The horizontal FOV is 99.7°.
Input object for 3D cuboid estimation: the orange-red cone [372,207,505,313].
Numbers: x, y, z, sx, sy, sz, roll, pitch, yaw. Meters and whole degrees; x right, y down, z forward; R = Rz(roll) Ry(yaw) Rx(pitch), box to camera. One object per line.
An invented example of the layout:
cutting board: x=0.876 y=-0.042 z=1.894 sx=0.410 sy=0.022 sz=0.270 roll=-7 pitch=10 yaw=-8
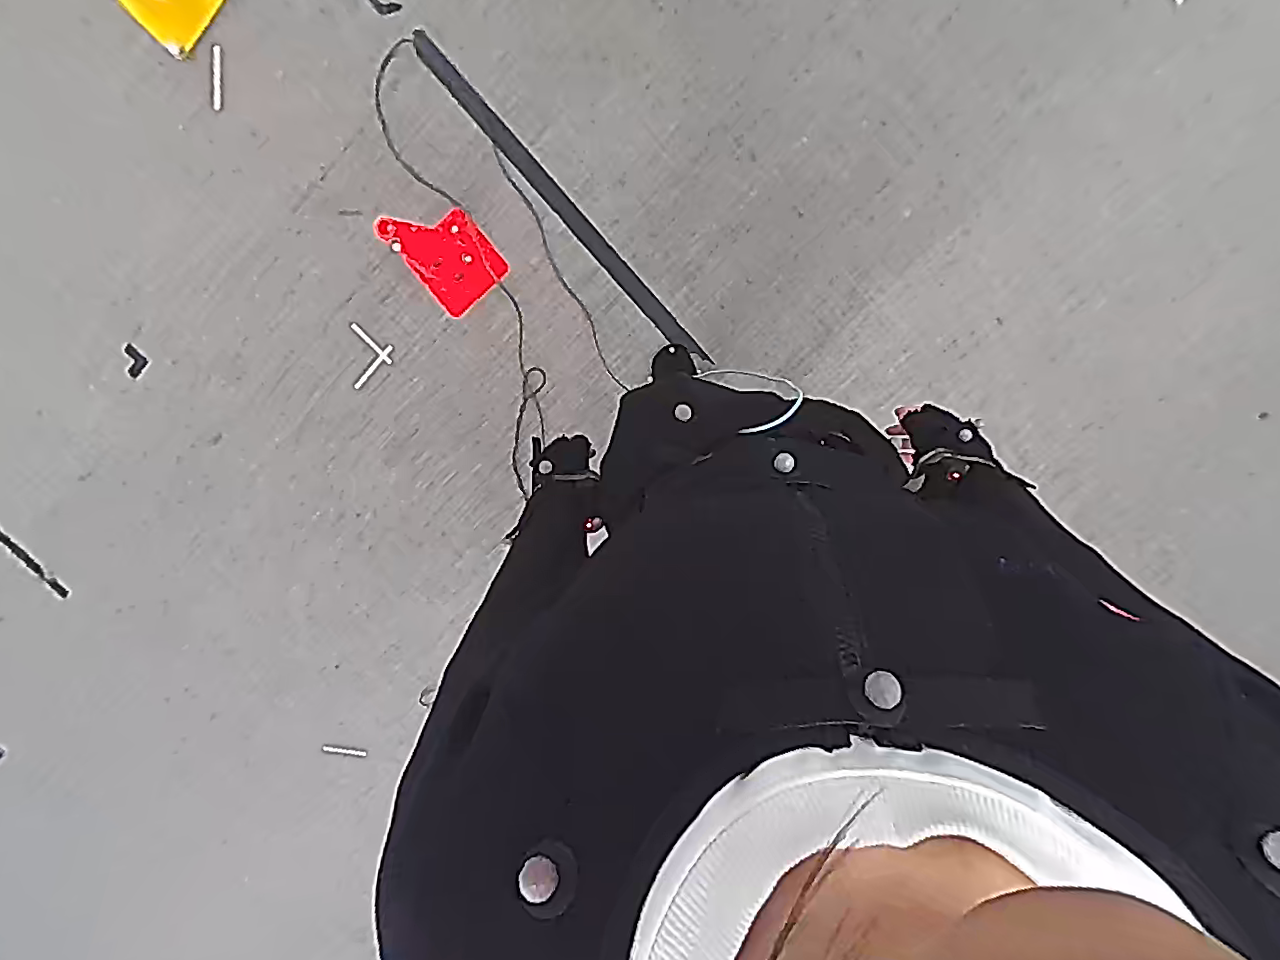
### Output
orange-red cone: x=-0.473 y=-0.513 z=1.184 sx=0.199 sy=0.360 sz=0.198 roll=-37 pitch=96 yaw=11
